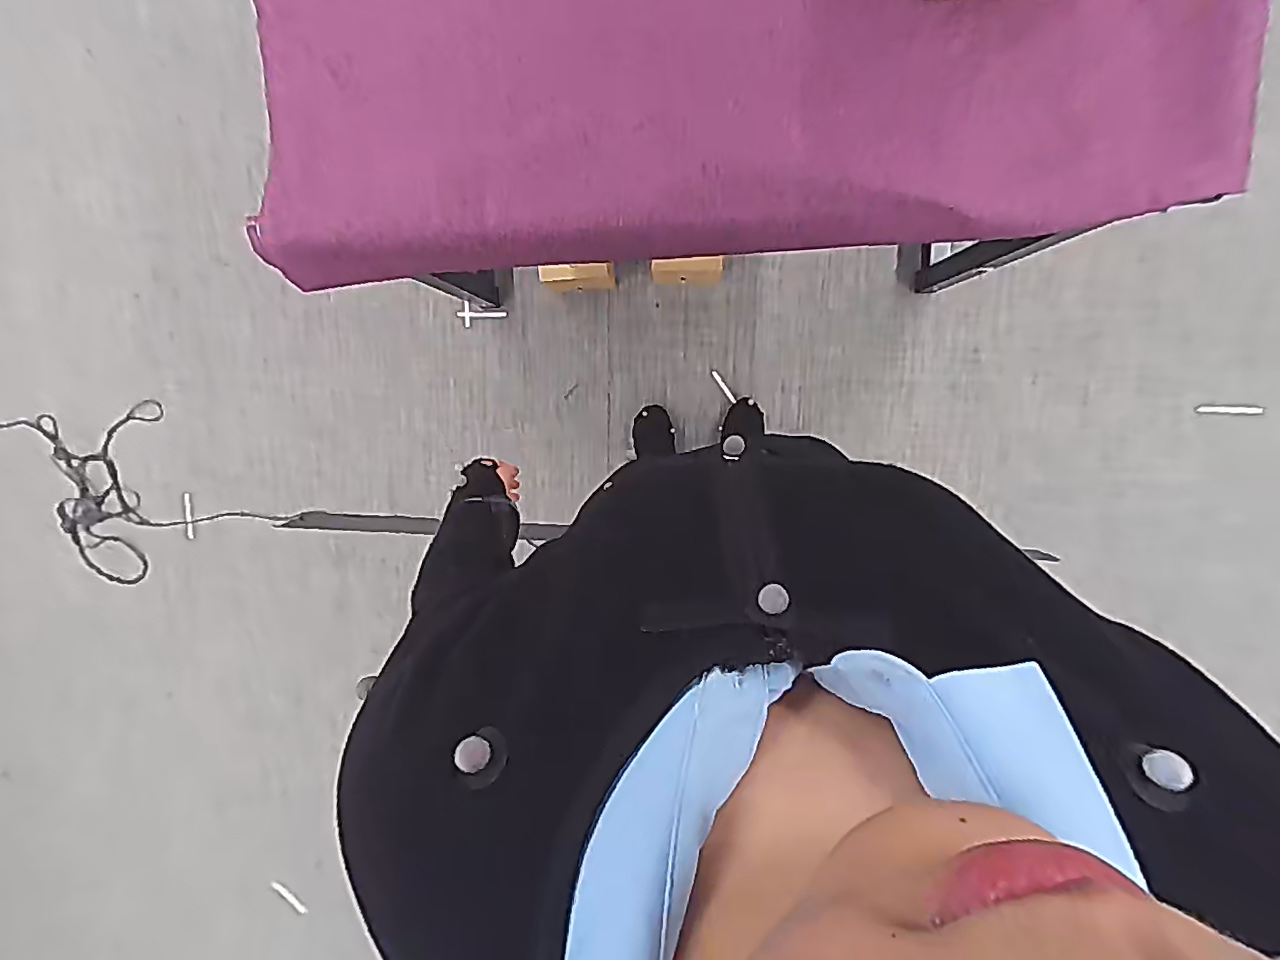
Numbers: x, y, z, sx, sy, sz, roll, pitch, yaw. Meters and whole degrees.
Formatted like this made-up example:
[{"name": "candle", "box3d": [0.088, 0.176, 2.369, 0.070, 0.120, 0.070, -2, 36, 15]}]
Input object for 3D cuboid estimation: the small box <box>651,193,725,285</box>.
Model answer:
[{"name": "small box", "box3d": [0.115, -0.583, 1.328, 0.168, 0.176, 0.179, 2, 98, 3]}]
